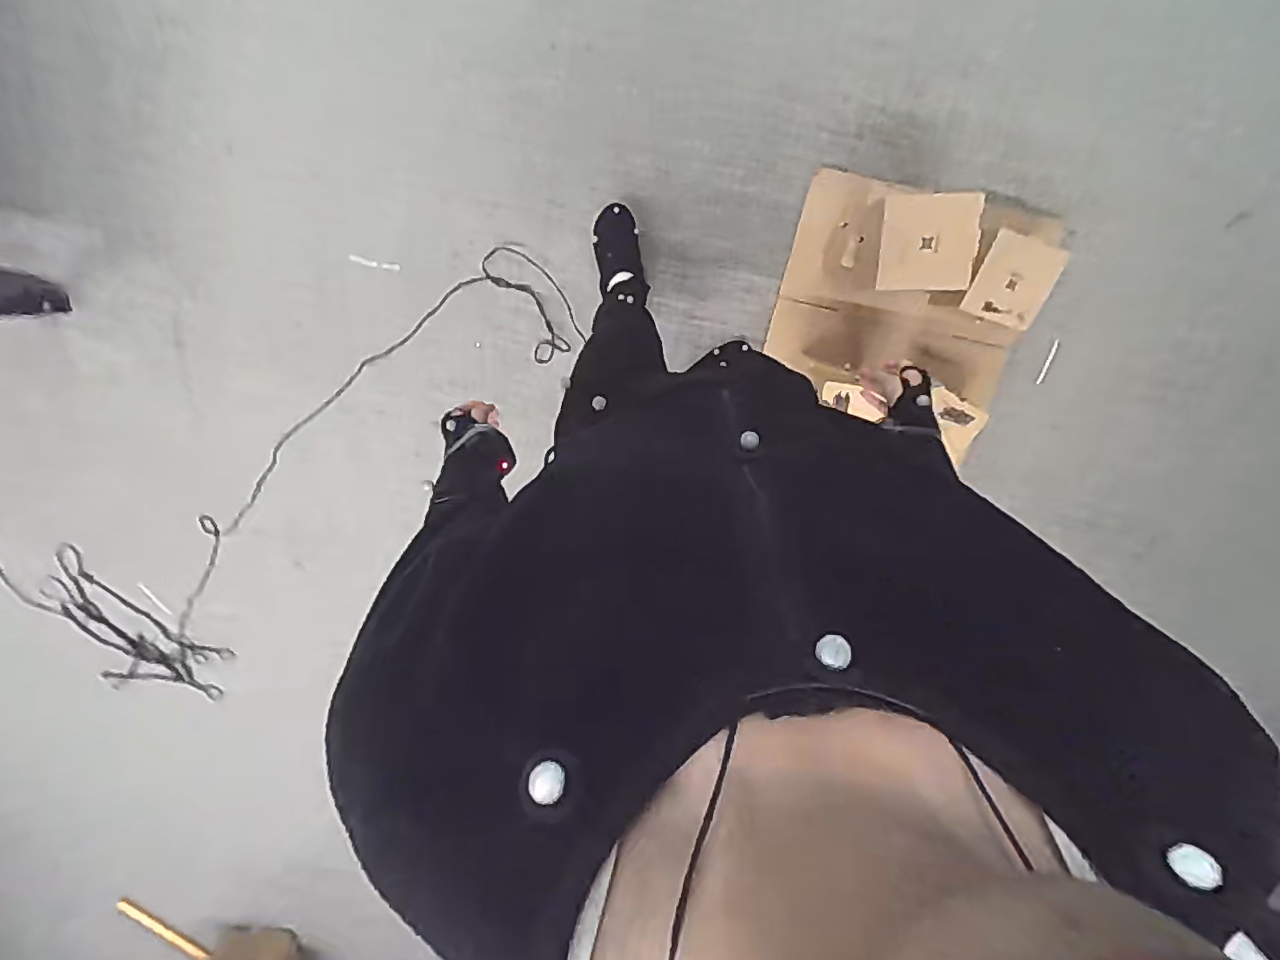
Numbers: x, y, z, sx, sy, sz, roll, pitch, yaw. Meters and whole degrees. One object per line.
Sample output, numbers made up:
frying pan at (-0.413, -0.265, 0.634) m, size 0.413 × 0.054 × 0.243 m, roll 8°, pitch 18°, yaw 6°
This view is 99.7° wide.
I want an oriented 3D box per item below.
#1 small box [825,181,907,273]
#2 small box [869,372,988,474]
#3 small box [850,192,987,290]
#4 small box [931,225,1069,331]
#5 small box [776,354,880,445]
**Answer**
small box at (0.541, -0.545, 1.215) m, size 0.179 × 0.176 × 0.168 m, roll 17°, pitch 112°, yaw -3°
small box at (0.705, -0.150, 1.347) m, size 0.168 × 0.176 × 0.179 m, roll 28°, pitch 111°, yaw -7°
small box at (0.537, -0.466, 1.069) m, size 0.179 × 0.176 × 0.168 m, roll 1°, pitch 110°, yaw 3°
small box at (0.803, -0.455, 1.230) m, size 0.168 × 0.176 × 0.179 m, roll 18°, pitch 110°, yaw -4°
small box at (0.455, -0.208, 1.344) m, size 0.179 × 0.176 × 0.168 m, roll 16°, pitch 111°, yaw -3°
